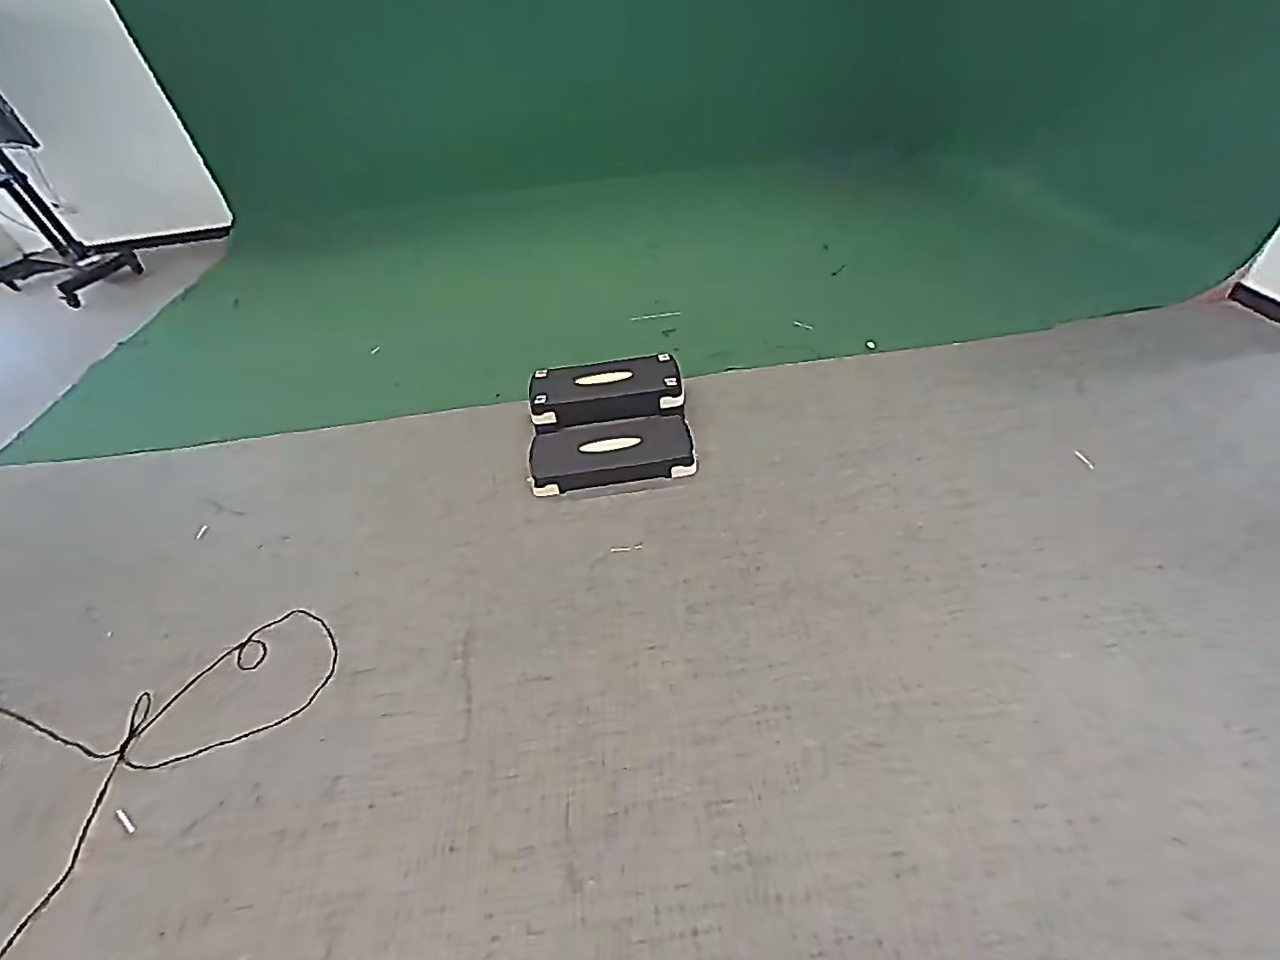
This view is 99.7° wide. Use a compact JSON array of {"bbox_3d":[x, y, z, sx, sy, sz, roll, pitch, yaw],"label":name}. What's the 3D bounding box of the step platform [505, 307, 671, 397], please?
[{"bbox_3d":[-0.211,-0.546,2.299,0.684,0.204,0.286,-8,45,-1],"label":"step platform"}]
